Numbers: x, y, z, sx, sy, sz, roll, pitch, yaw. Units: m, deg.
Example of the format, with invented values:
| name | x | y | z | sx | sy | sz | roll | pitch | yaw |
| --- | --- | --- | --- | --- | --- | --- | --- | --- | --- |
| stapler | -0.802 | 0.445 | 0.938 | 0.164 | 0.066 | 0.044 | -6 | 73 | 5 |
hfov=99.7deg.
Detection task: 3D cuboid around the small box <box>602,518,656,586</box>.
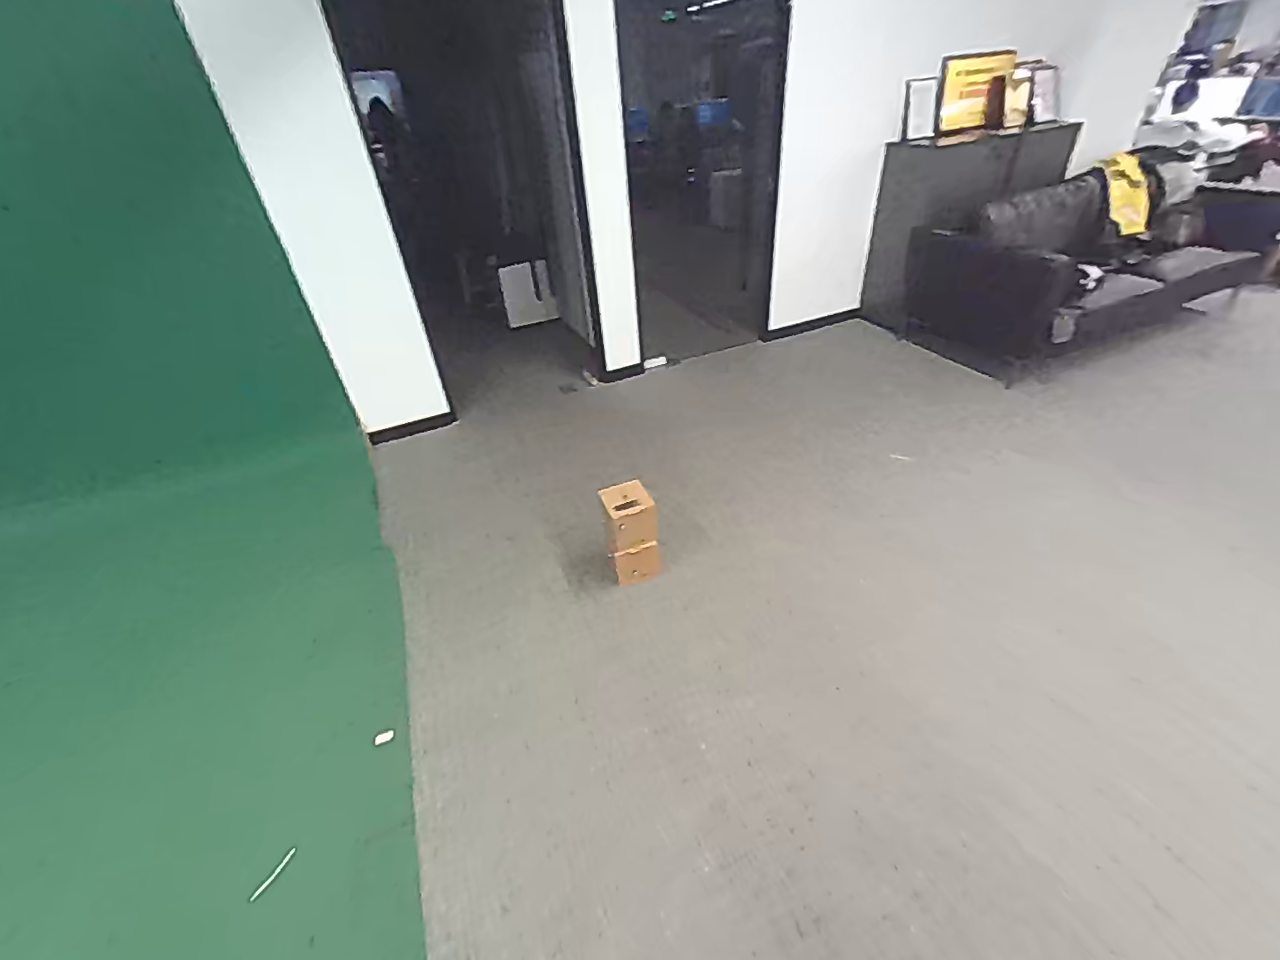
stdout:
| name | x | y | z | sx | sy | sz | roll | pitch | yaw |
| --- | --- | --- | --- | --- | --- | --- | --- | --- | --- |
| small box | -0.044 | 0.279 | 2.085 | 0.168 | 0.176 | 0.179 | -14 | 38 | -13 |
